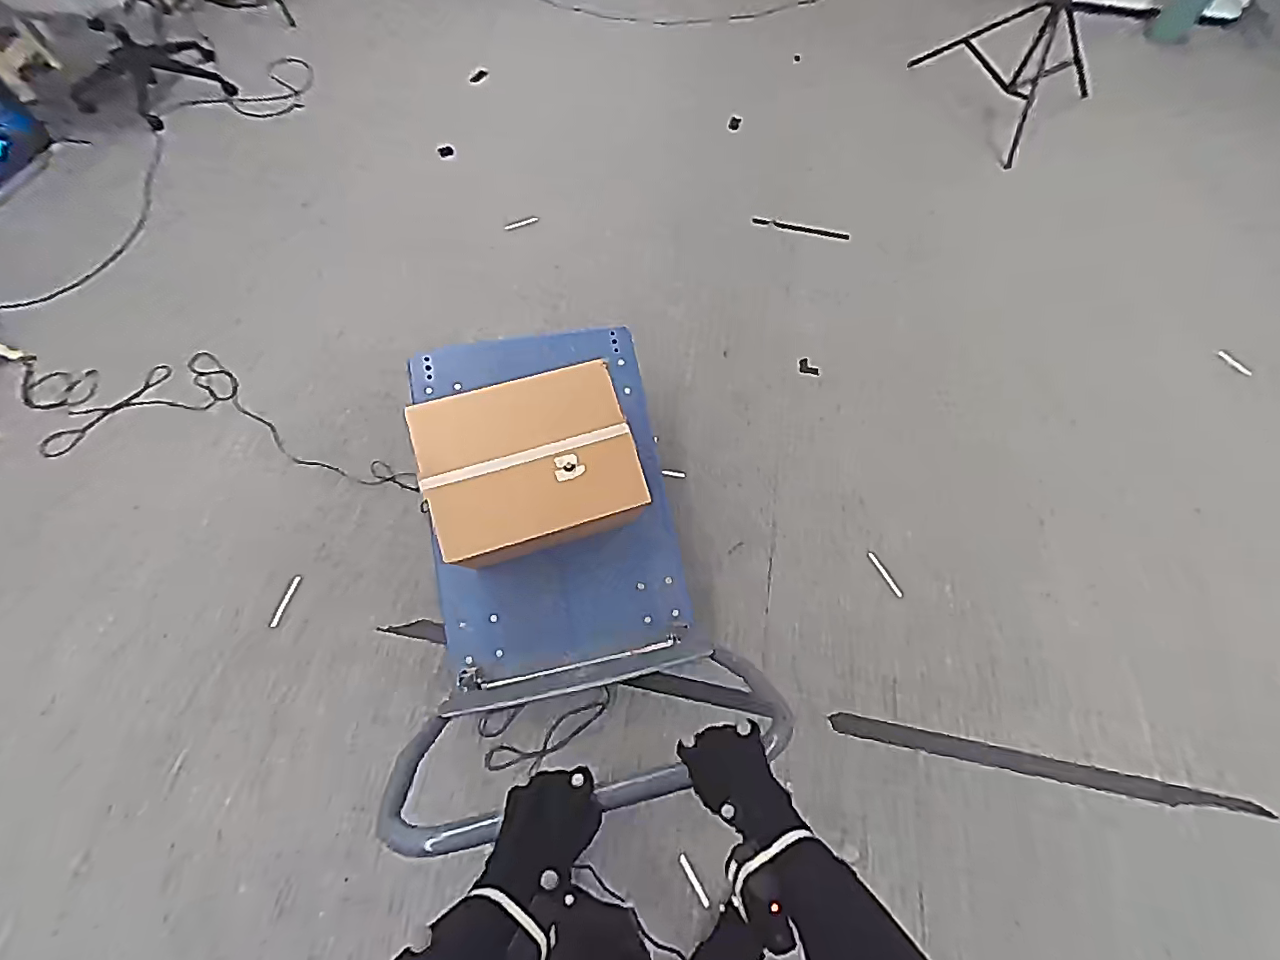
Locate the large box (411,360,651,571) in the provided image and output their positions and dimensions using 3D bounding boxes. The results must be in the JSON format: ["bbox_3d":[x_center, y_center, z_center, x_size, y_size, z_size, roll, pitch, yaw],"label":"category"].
[{"bbox_3d":[-0.230,-0.015,1.196,0.408,0.320,0.320,-17,81,-11],"label":"large box"}]
